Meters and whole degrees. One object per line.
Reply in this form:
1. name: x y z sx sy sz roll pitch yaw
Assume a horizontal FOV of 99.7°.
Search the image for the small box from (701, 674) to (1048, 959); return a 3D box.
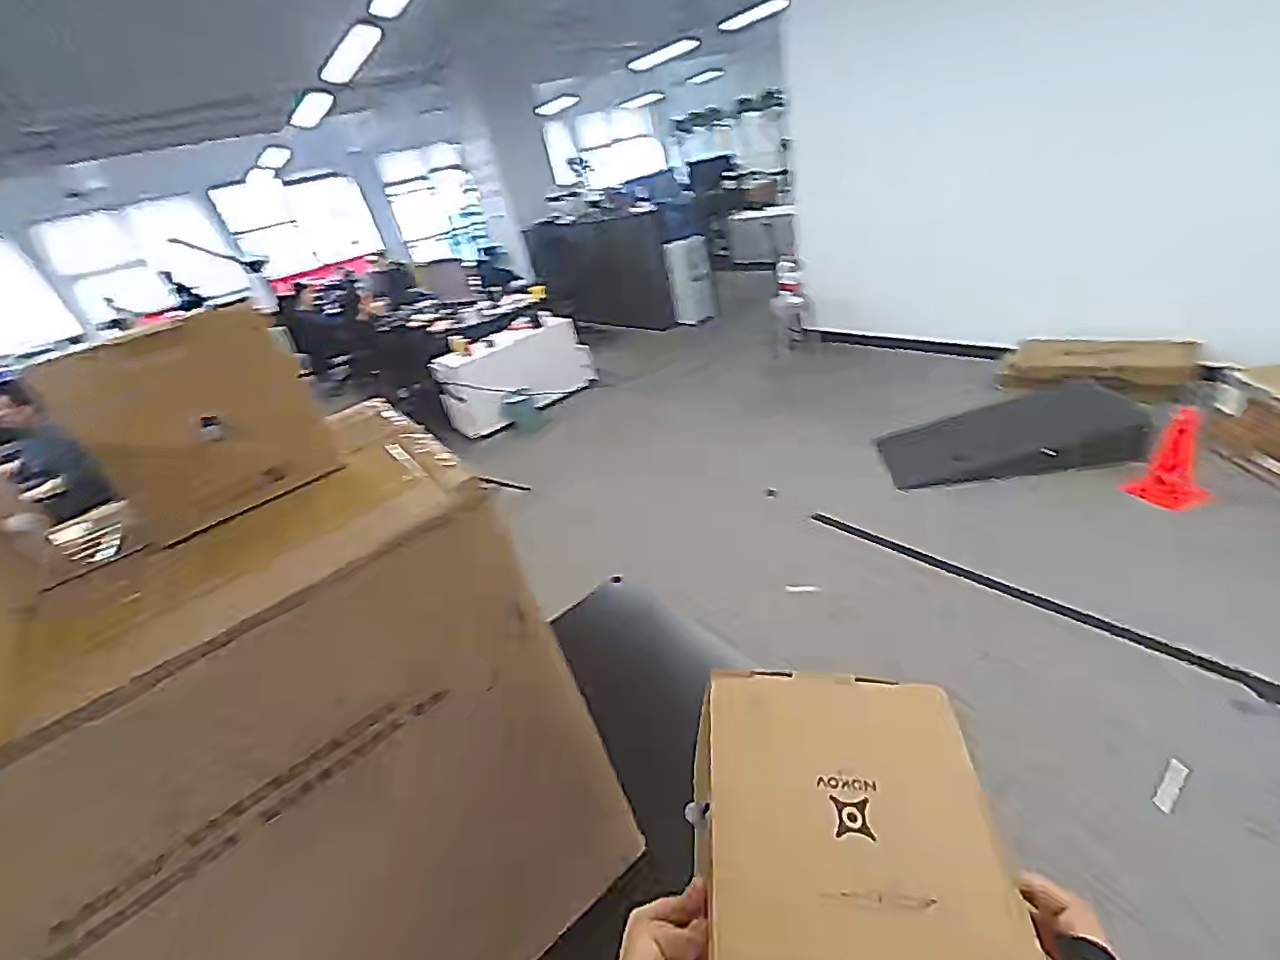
1. small box: 0.130 0.263 0.371 0.168 0.176 0.179 3 40 5
